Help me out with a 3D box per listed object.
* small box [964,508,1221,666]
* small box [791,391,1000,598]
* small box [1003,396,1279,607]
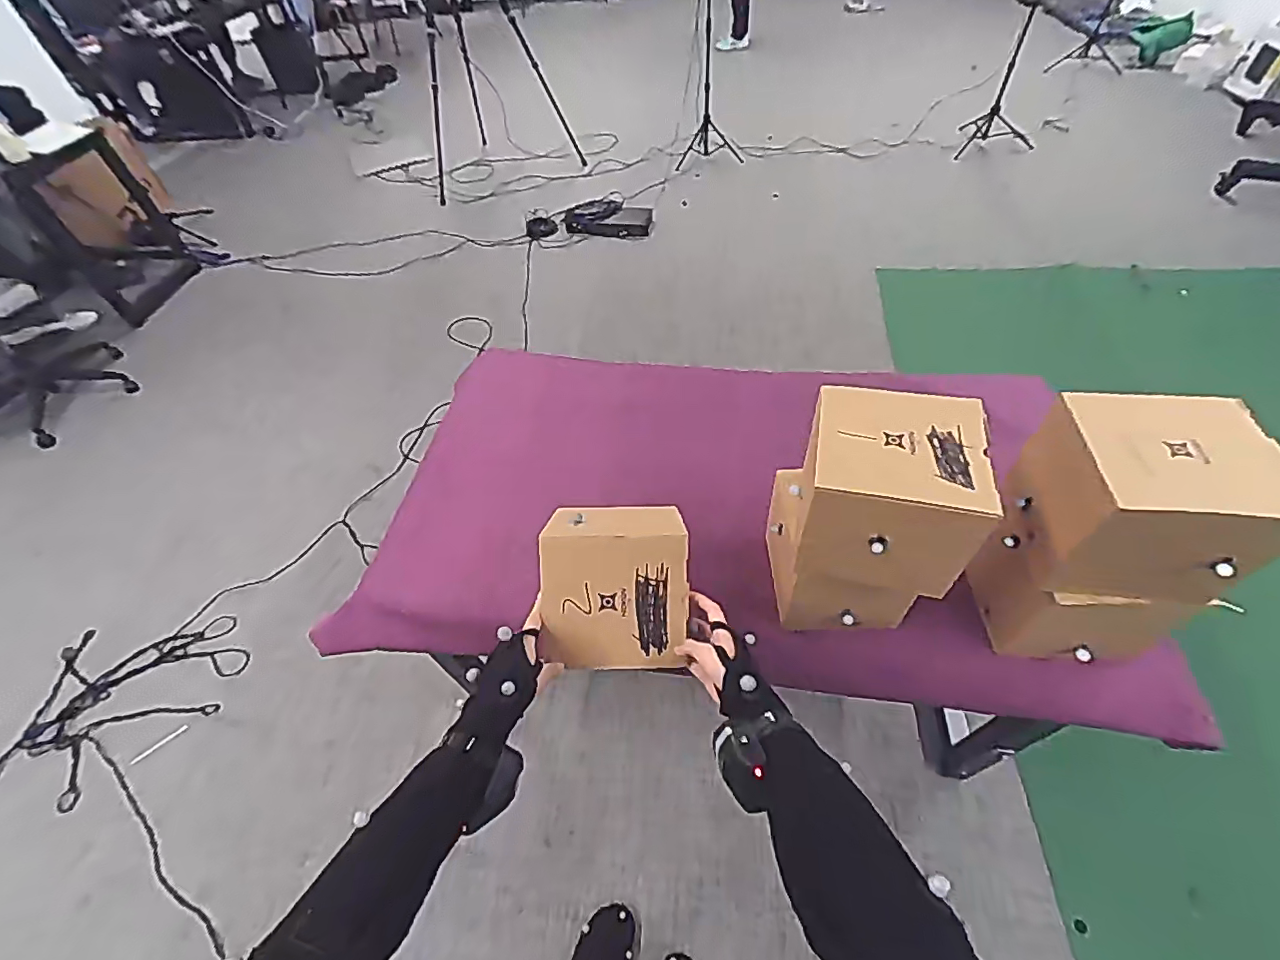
[{"bbox_3d":[0.575,0.138,0.721,0.179,0.176,0.168,-1,50,6],"label":"small box"},{"bbox_3d":[0.284,0.020,0.636,0.179,0.176,0.168,8,50,14],"label":"small box"},{"bbox_3d":[0.551,0.027,0.602,0.179,0.176,0.168,3,51,10],"label":"small box"}]
